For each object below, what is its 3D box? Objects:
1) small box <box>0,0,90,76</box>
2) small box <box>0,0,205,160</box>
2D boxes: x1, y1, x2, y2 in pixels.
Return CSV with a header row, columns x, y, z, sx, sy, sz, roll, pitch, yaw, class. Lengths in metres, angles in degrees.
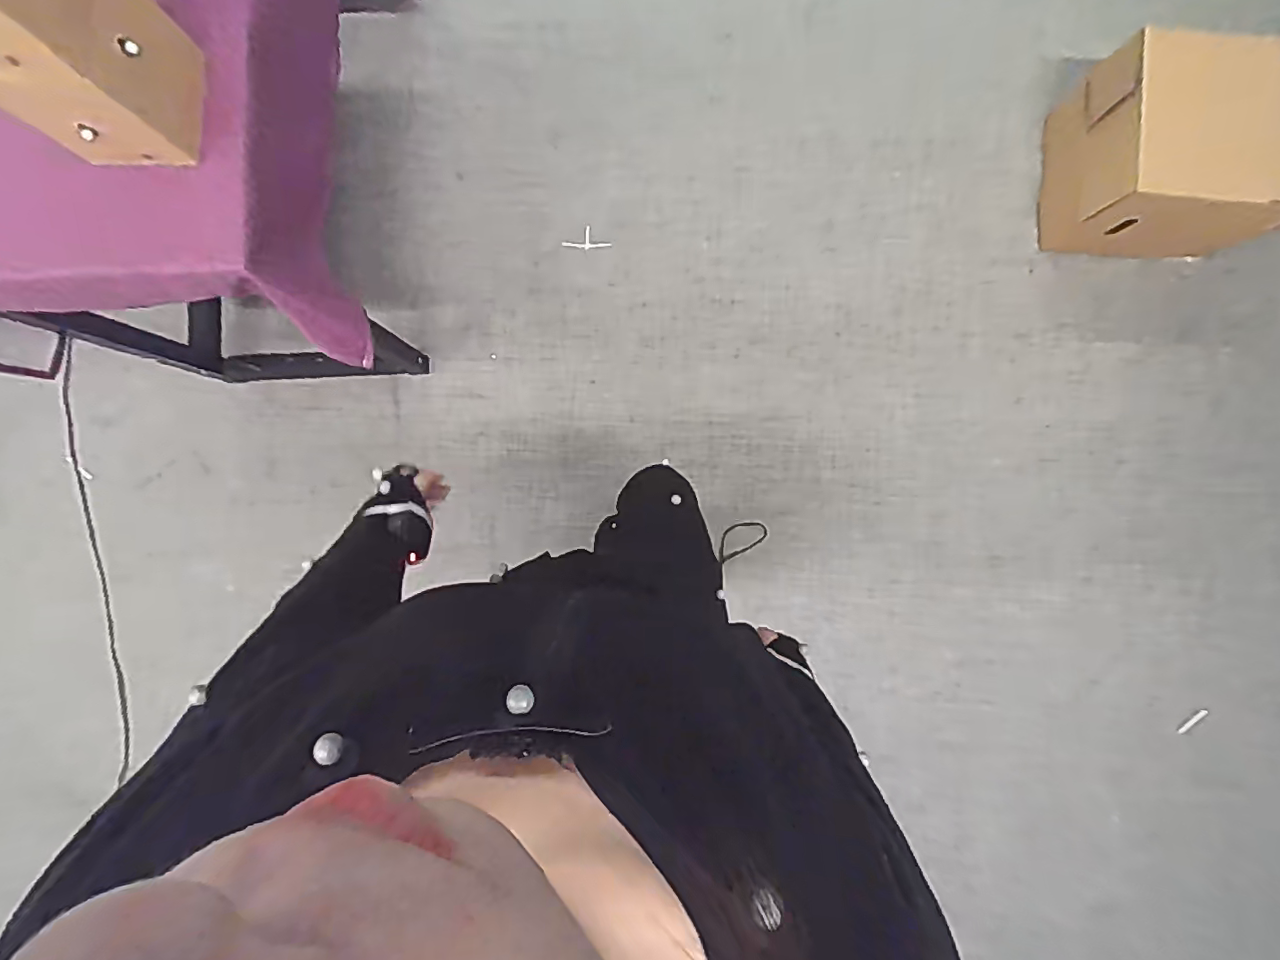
x,y,z,sx,sy,sz,roll,pitch,yaw,class
-0.737,-0.574,0.567,0.168,0.176,0.179,1,89,1,small box
-0.734,-0.563,0.730,0.168,0.176,0.179,1,88,0,small box
